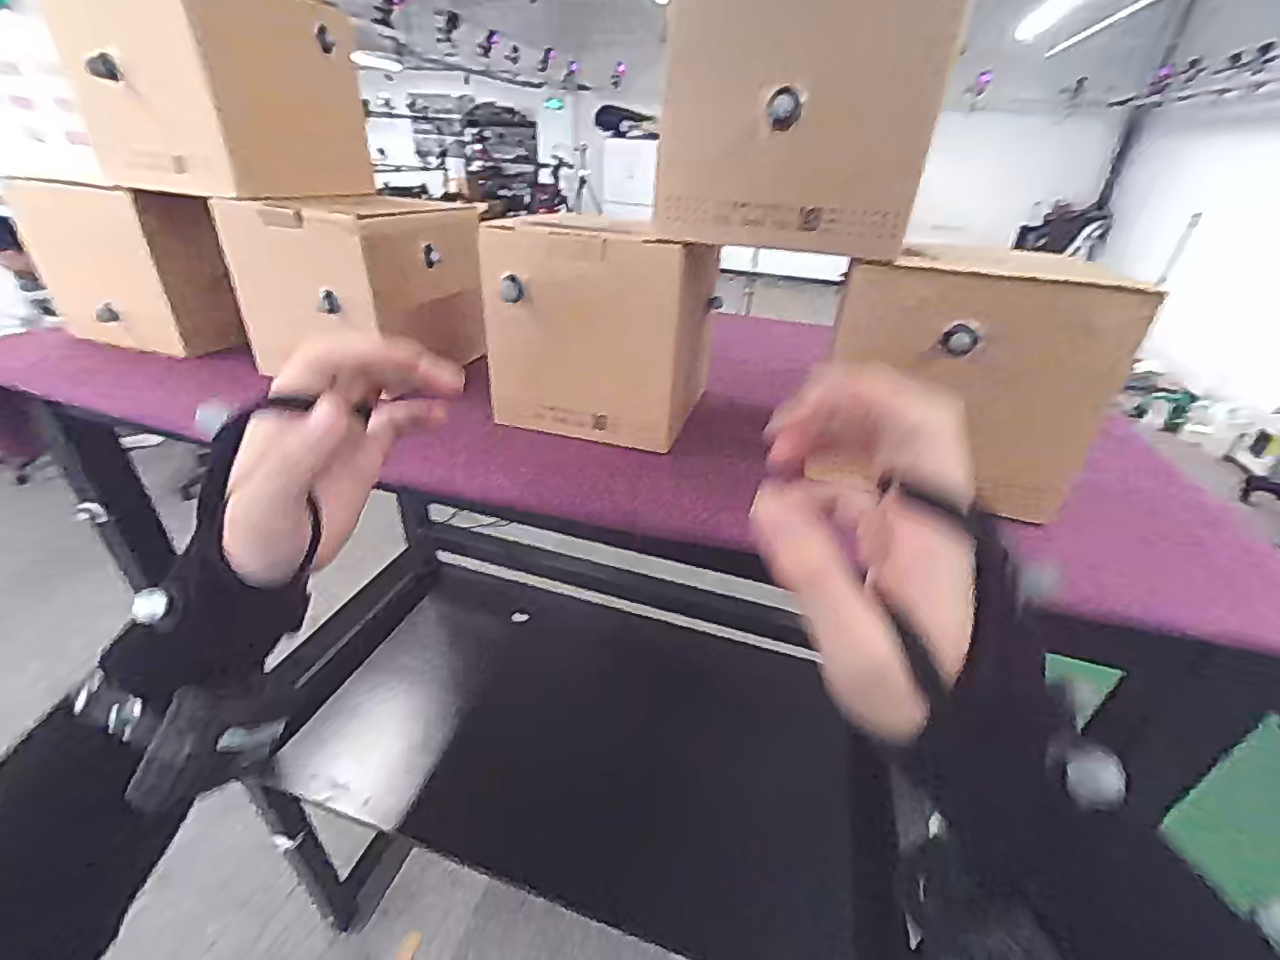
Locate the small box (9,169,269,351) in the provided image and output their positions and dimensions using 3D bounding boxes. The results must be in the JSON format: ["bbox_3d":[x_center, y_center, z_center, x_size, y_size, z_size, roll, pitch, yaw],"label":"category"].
[{"bbox_3d":[-0.537,-0.259,0.633,0.179,0.176,0.168,12,31,11],"label":"small box"}]

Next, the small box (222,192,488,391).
[{"bbox_3d":[-0.276,-0.205,0.572,0.168,0.176,0.179,13,31,15],"label":"small box"}]

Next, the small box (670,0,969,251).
[{"bbox_3d":[0.121,-0.268,0.395,0.168,0.176,0.179,12,30,13],"label":"small box"}]

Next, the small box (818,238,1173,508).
[{"bbox_3d":[0.249,-0.095,0.437,0.179,0.176,0.168,12,31,15],"label":"small box"}]

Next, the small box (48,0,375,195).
[{"bbox_3d":[-0.389,-0.374,0.525,0.168,0.176,0.179,12,30,14],"label":"small box"}]
